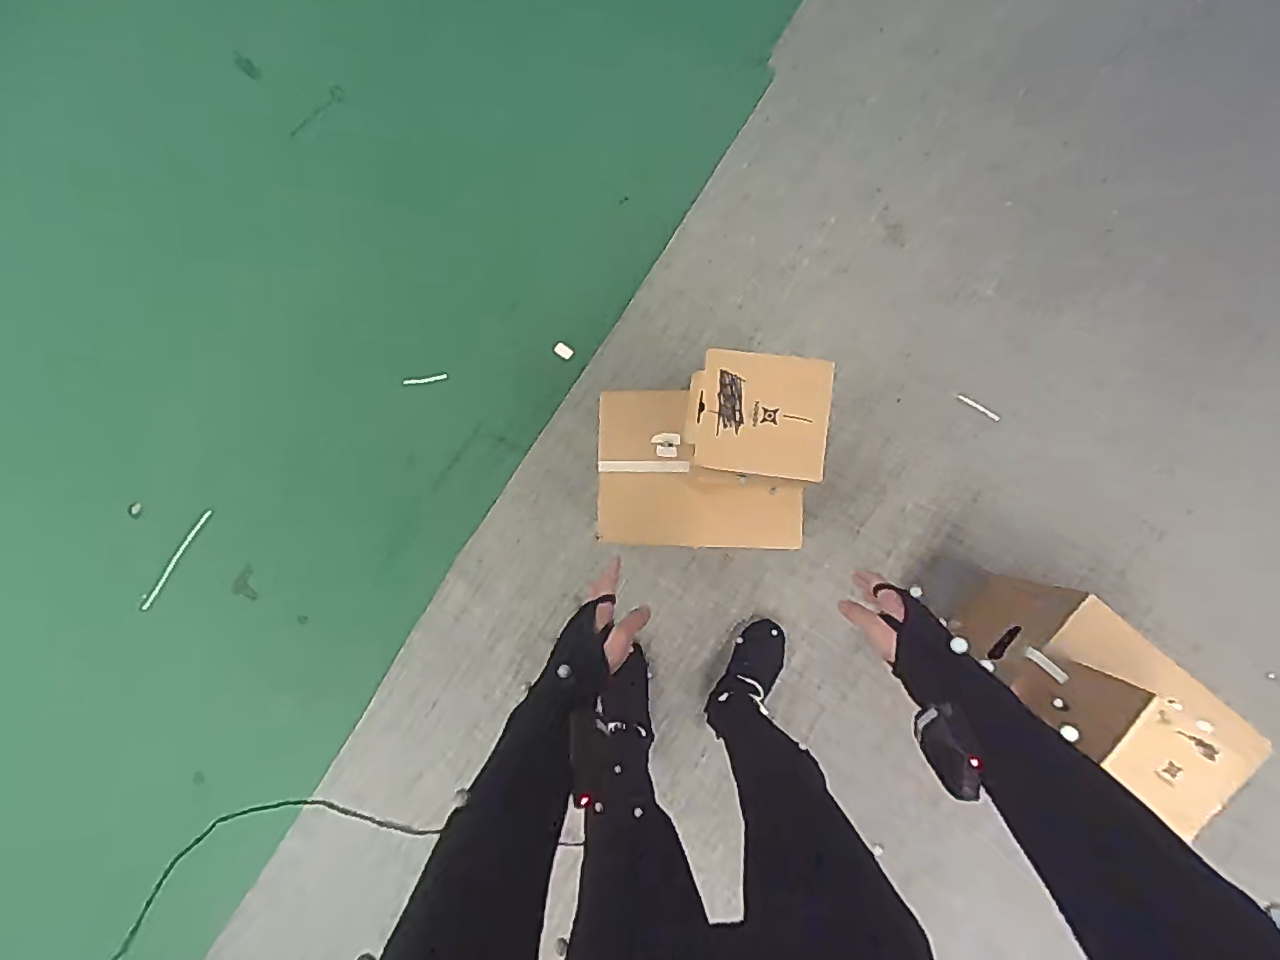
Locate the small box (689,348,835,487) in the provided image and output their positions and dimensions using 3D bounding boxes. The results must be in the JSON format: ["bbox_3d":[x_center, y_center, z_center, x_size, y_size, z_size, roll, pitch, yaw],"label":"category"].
[{"bbox_3d":[0.170,-0.083,0.804,0.179,0.176,0.168,8,87,4],"label":"small box"}]

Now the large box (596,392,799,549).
[{"bbox_3d":[0.125,-0.014,1.215,0.408,0.320,0.320,1,86,5],"label":"large box"}]

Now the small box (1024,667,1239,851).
[{"bbox_3d":[0.792,0.448,0.900,0.168,0.176,0.179,40,92,4],"label":"small box"}]
